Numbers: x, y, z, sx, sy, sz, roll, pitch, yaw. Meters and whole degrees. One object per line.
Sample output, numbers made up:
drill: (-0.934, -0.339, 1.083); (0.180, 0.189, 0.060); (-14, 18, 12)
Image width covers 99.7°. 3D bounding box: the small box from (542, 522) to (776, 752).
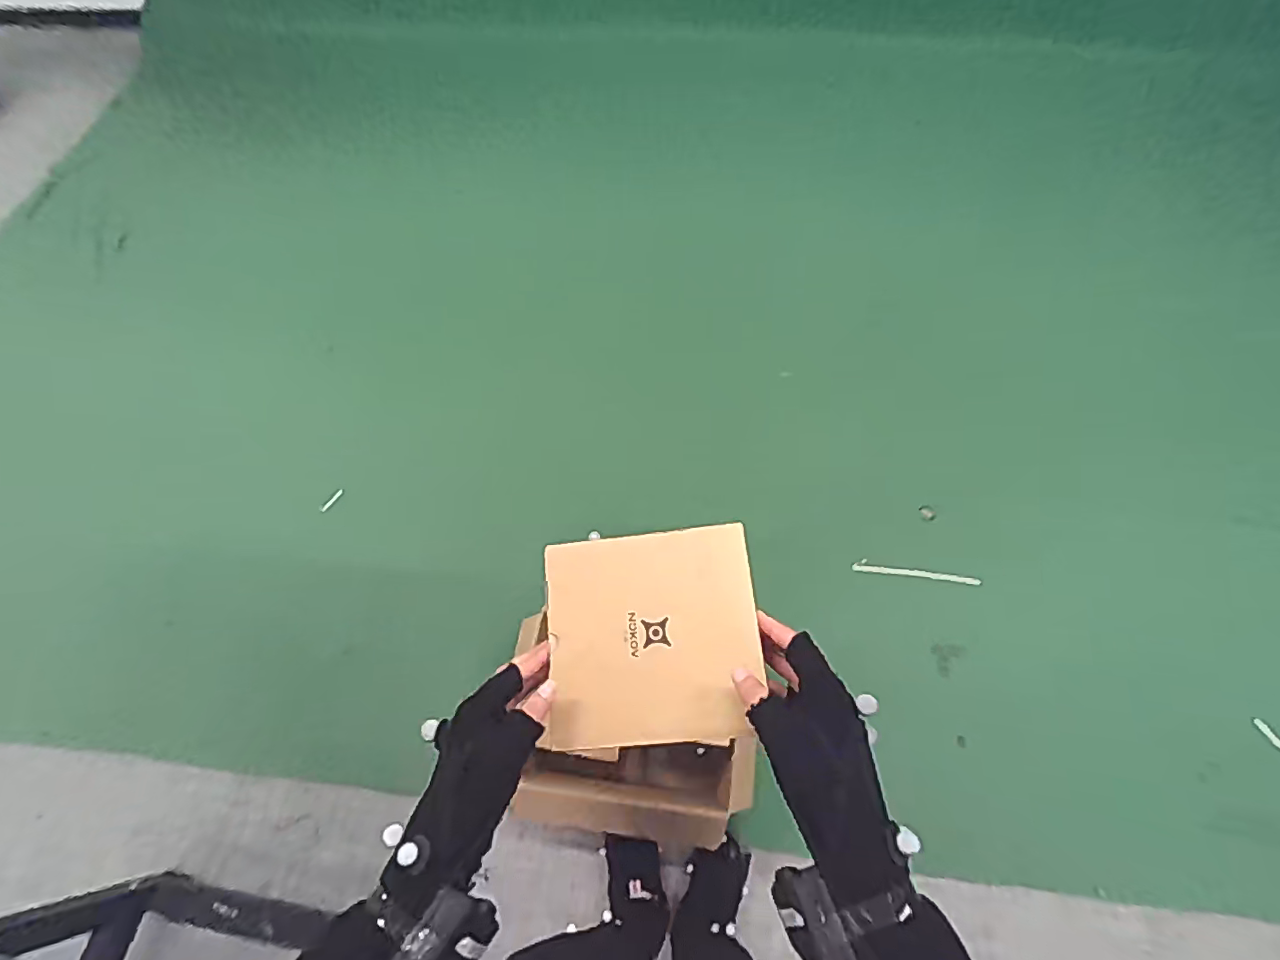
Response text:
small box: (0.020, 0.144, 0.501); (0.179, 0.176, 0.168); (-8, 71, 8)
